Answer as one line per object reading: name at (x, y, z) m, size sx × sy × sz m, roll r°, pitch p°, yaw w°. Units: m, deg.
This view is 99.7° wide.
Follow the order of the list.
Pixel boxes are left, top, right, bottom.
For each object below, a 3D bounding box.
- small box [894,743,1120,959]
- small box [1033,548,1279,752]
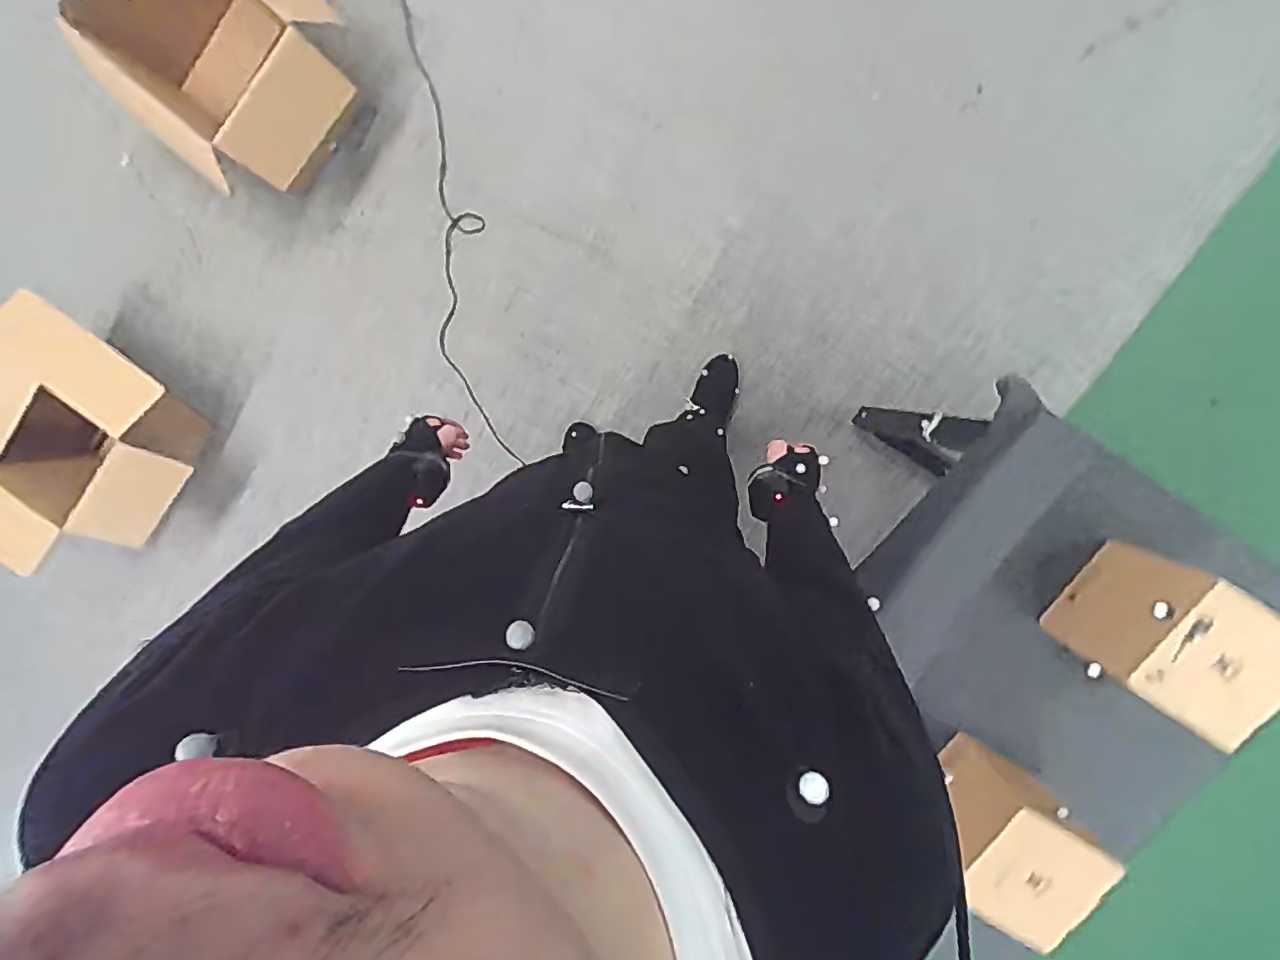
small box at (0.518, 0.530, 0.794) m, size 0.179 × 0.176 × 0.168 m, roll 32°, pitch 100°, yaw -2°
small box at (0.708, 0.219, 0.741) m, size 0.179 × 0.176 × 0.168 m, roll 34°, pitch 101°, yaw -4°
